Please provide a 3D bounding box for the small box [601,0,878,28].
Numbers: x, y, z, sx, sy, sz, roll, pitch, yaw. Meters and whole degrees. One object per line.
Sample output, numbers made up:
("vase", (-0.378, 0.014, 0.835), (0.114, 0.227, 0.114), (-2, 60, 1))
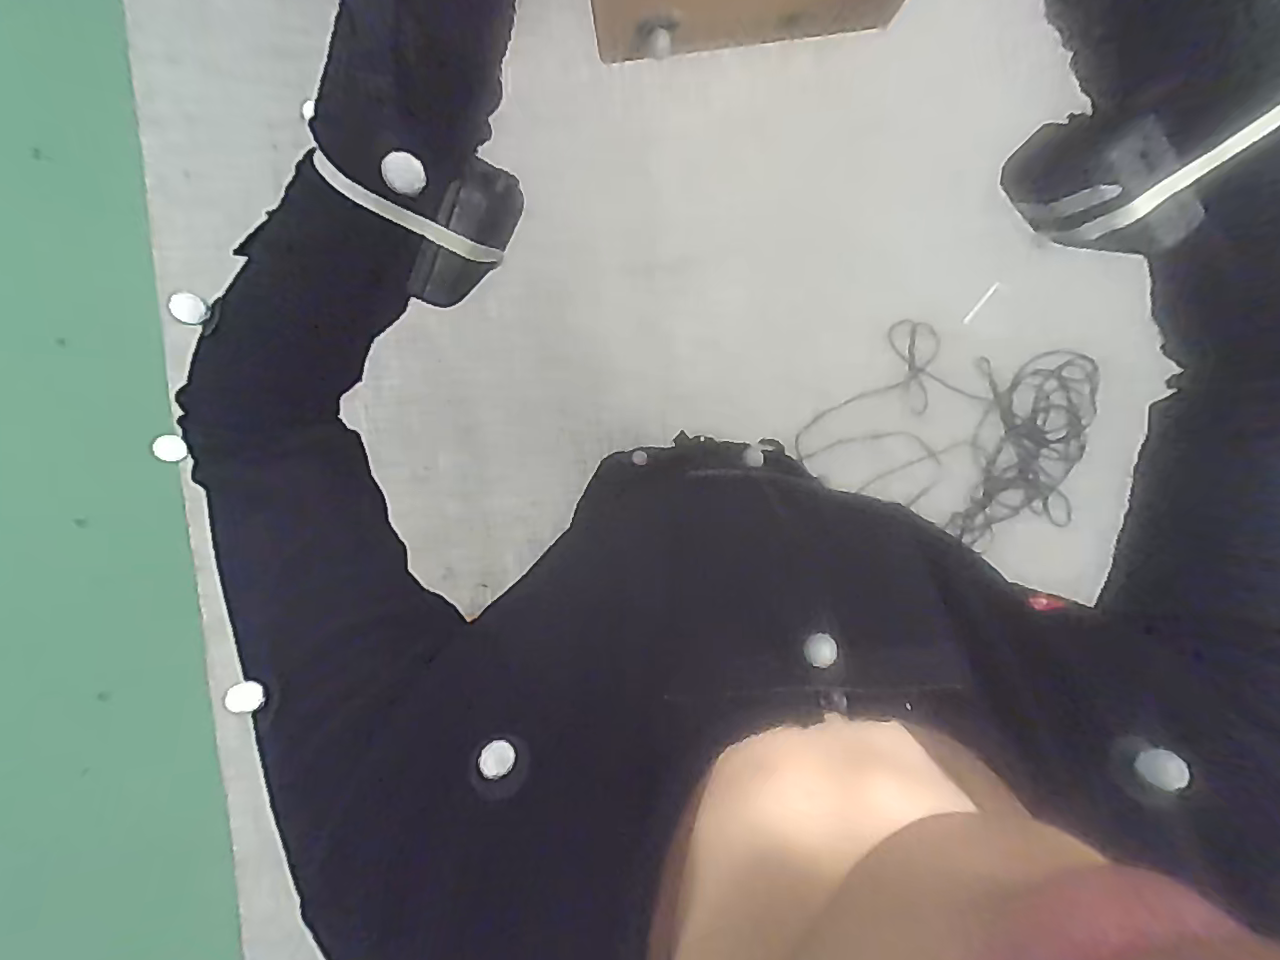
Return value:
("small box", (0.048, -0.321, 0.210), (0.168, 0.176, 0.179), (-6, 99, 2))
